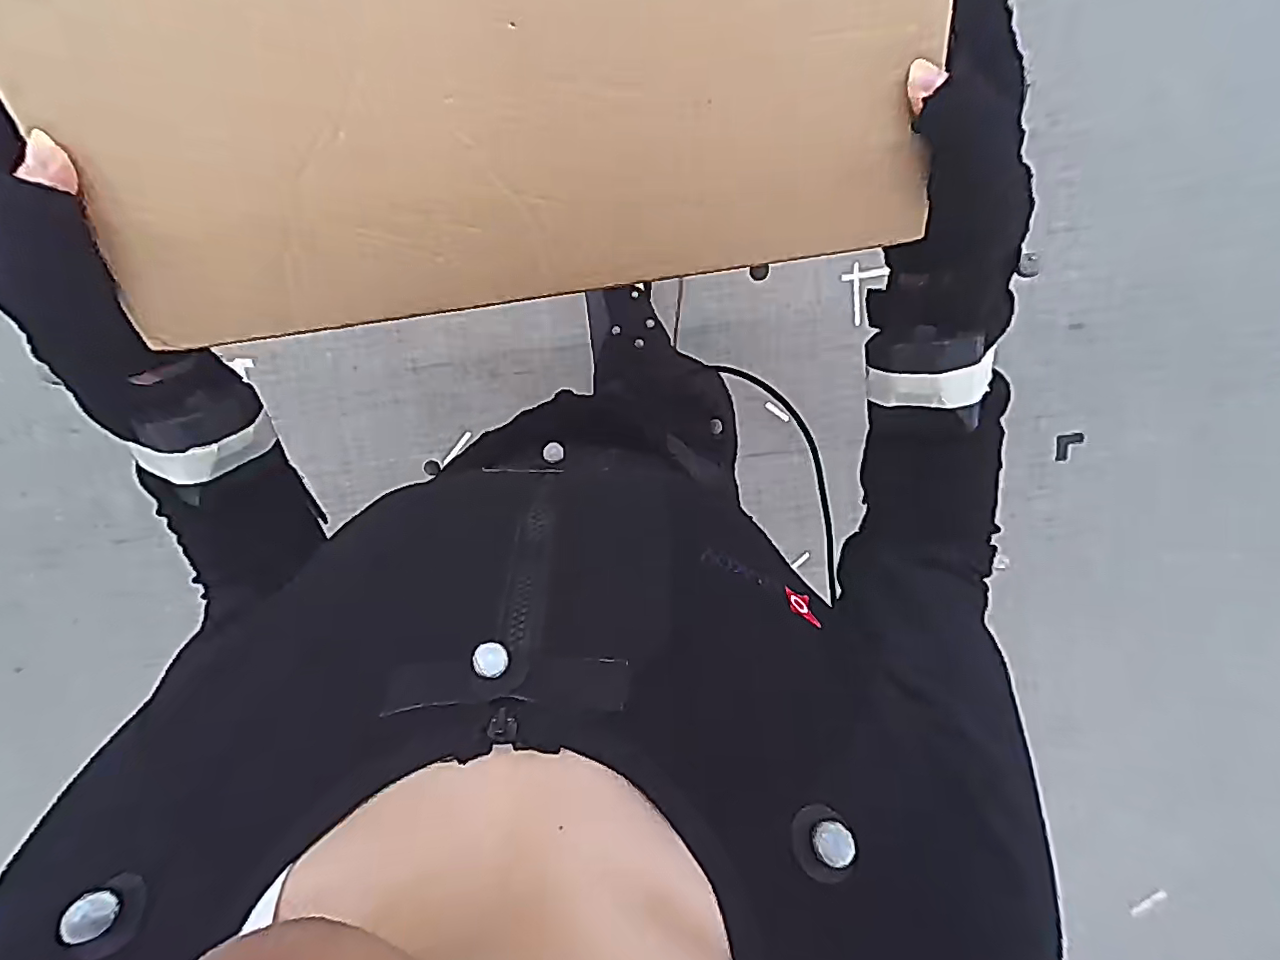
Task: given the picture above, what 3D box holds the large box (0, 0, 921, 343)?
[{"bbox_3d":[-0.084,-0.308,0.349,0.408,0.320,0.320,-8,117,1],"label":"large box"}]
